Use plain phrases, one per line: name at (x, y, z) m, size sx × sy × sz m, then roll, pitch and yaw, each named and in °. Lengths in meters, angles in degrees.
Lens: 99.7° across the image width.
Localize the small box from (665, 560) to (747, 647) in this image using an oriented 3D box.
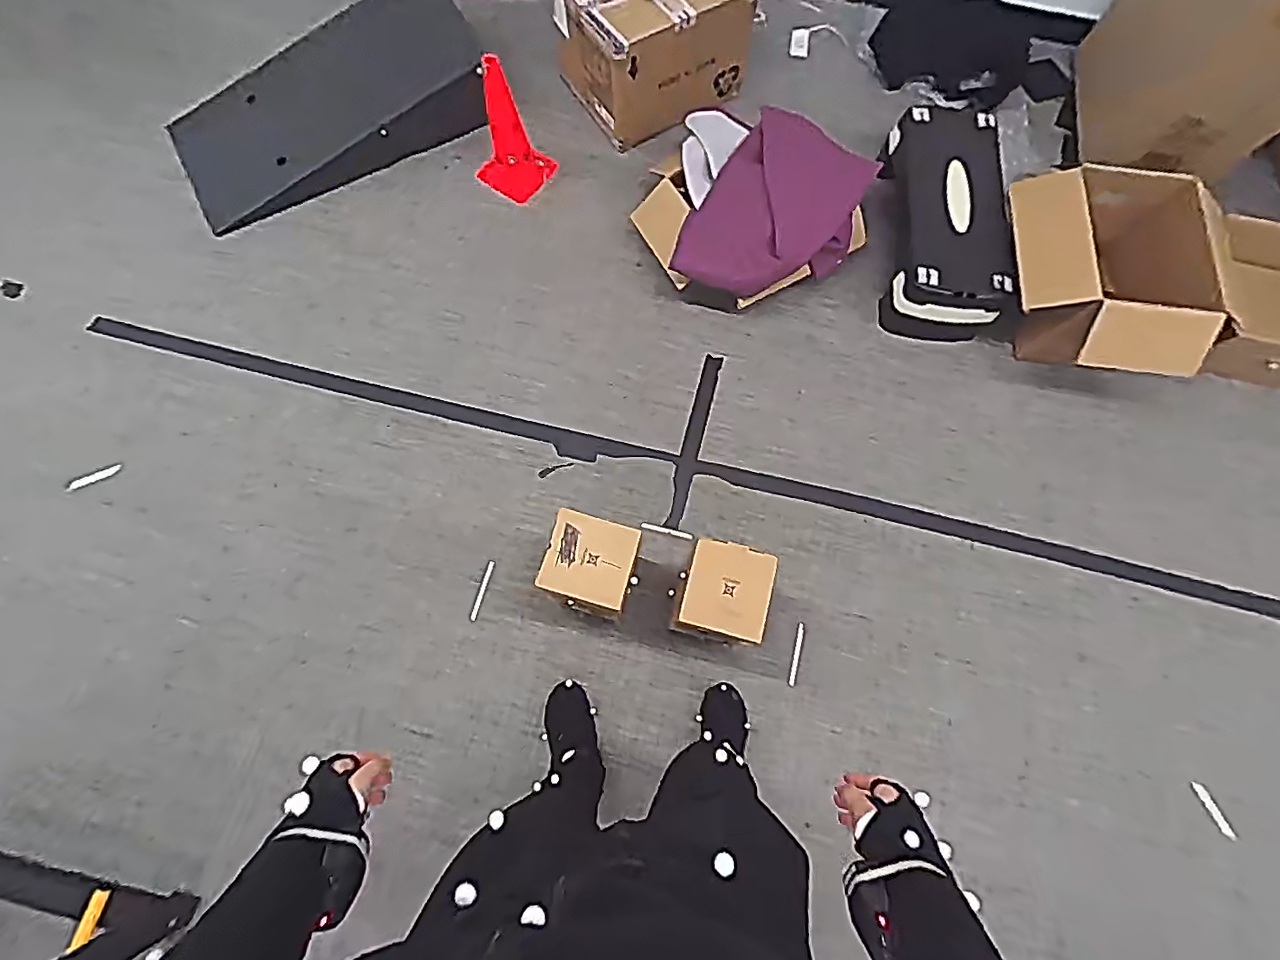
small box at (0.166, 0.292, 1.284) m, size 0.179 × 0.176 × 0.168 m, roll 13°, pitch 74°, yaw 2°

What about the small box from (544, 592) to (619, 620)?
small box at (-0.113, 0.230, 1.295) m, size 0.168 × 0.176 × 0.179 m, roll 16°, pitch 75°, yaw 3°

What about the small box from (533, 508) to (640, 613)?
small box at (-0.106, 0.177, 1.138) m, size 0.179 × 0.176 × 0.168 m, roll 16°, pitch 74°, yaw 3°

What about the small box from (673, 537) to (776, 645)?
small box at (0.169, 0.235, 1.132) m, size 0.168 × 0.176 × 0.179 m, roll 15°, pitch 75°, yaw 3°
